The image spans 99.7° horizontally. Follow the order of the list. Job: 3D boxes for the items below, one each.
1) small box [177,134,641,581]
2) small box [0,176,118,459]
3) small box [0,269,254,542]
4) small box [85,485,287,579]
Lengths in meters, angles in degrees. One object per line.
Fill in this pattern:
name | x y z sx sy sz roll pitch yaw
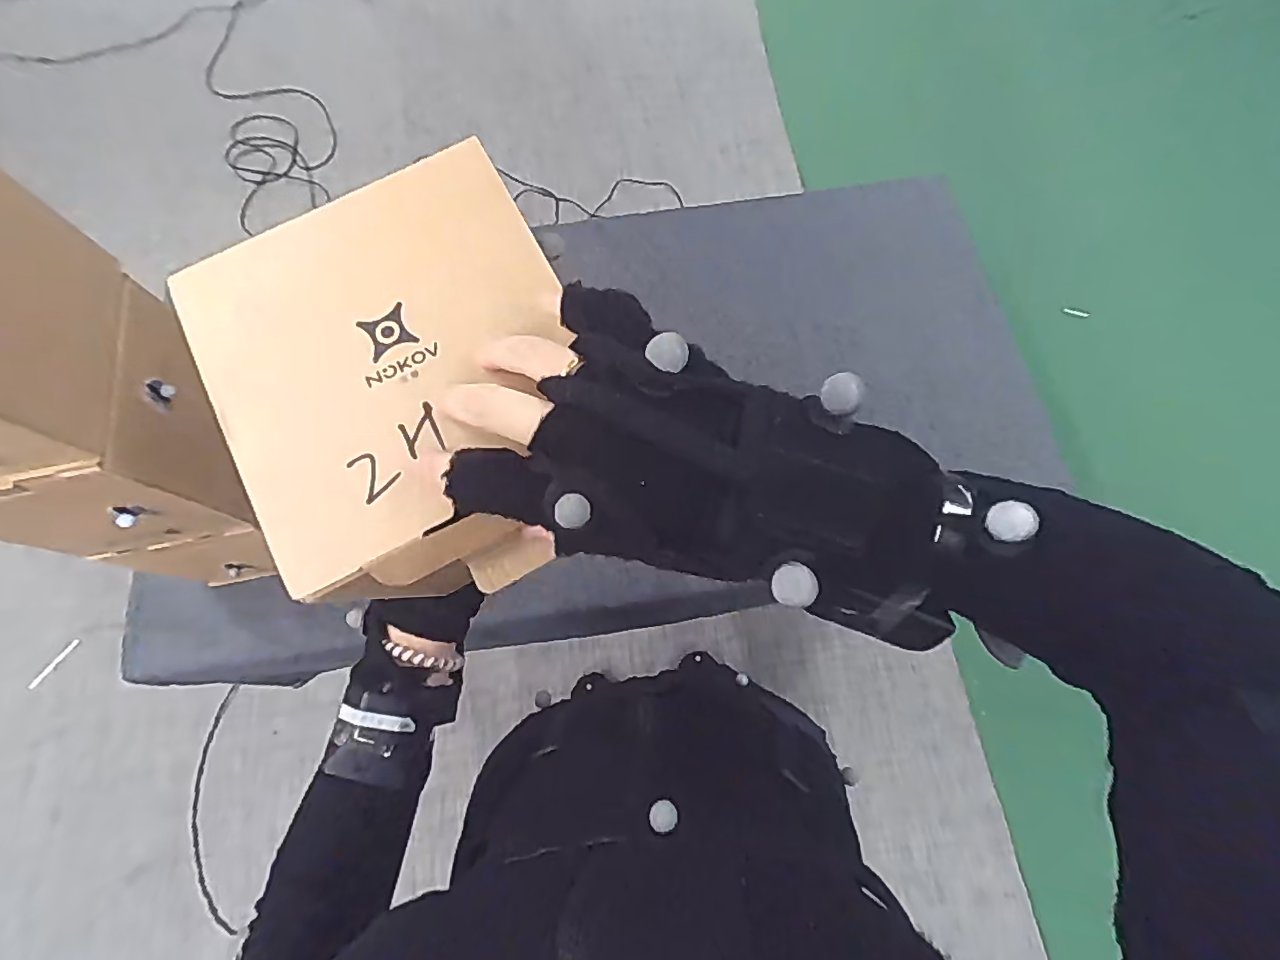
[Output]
small box | -0.111 -0.049 0.328 0.168 0.176 0.179 -28 80 -4
small box | -0.475 -0.111 0.326 0.168 0.176 0.179 -11 71 -5
small box | -0.474 -0.050 0.479 0.168 0.176 0.179 -10 71 -4
small box | -0.474 0.005 0.632 0.168 0.176 0.179 -11 72 -4
